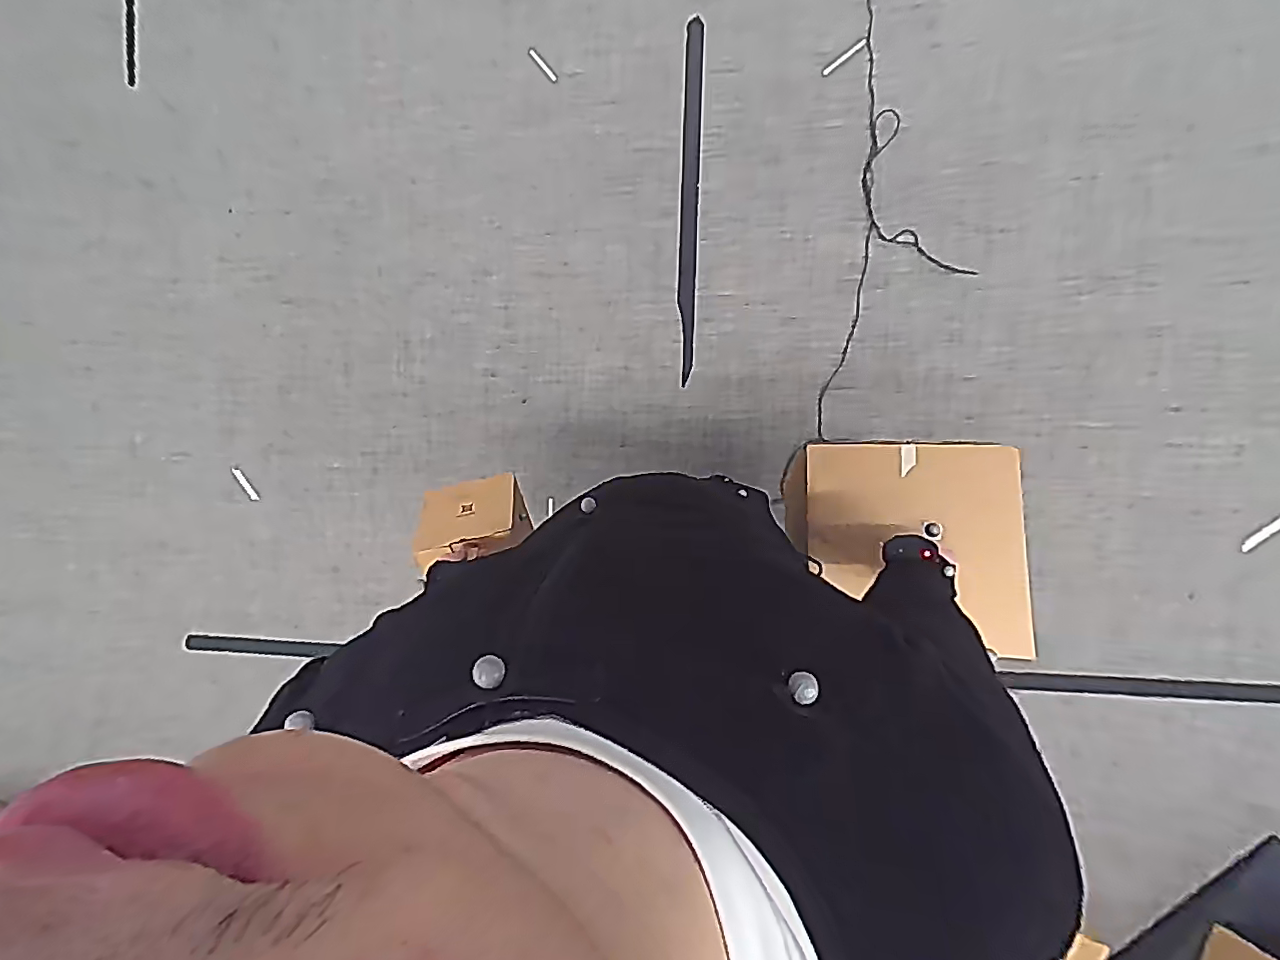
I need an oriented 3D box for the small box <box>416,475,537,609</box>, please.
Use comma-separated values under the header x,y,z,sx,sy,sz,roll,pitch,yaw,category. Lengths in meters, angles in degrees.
x,y,z,sx,sy,sz,roll,pitch,yaw,category
-0.292,0.119,1.005,0.168,0.179,0.176,-12,124,-4,small box
